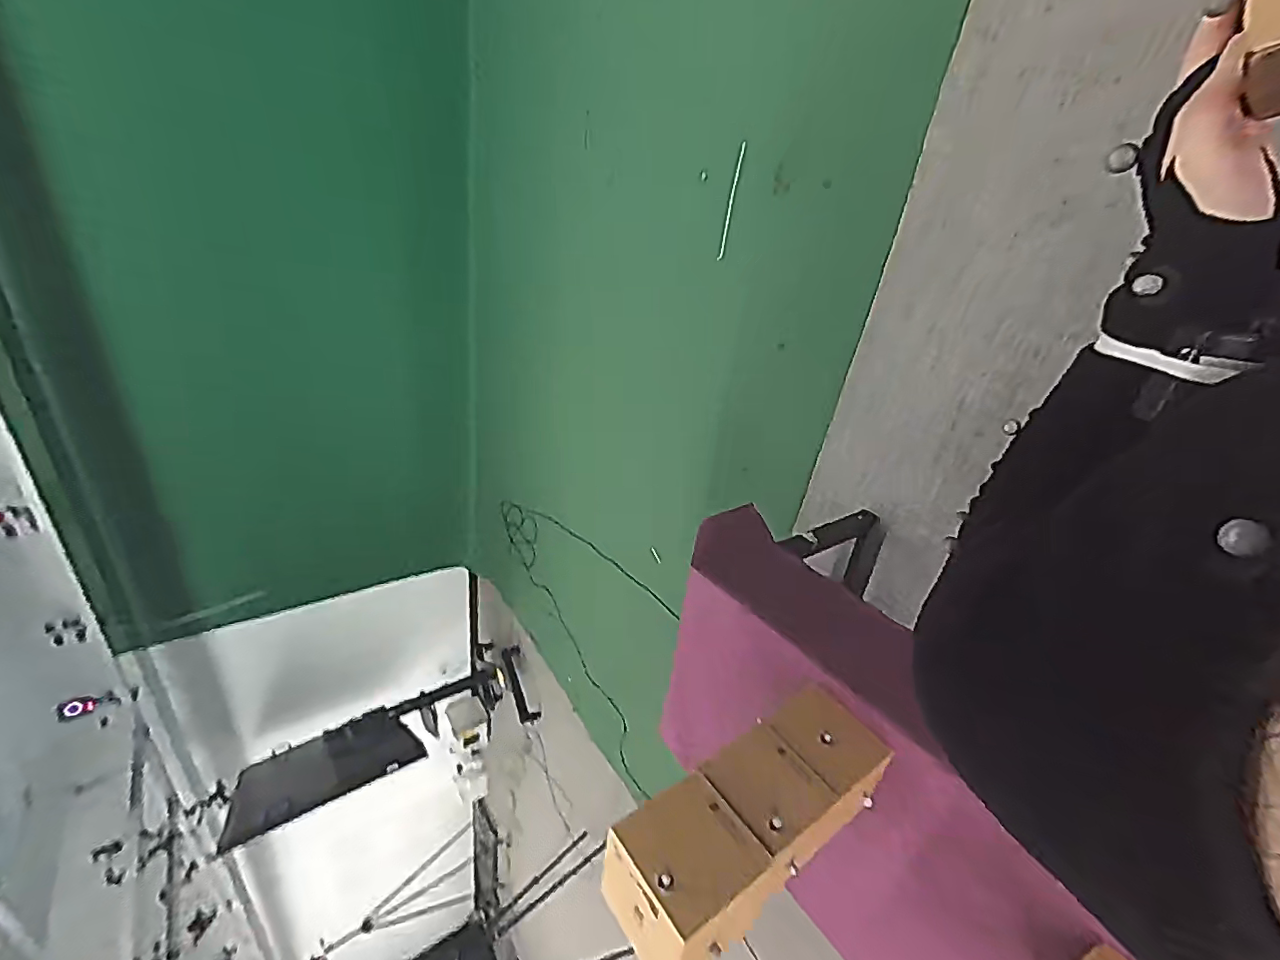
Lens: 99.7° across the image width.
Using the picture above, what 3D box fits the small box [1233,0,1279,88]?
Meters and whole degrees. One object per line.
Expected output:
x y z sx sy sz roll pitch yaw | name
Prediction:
0.325 -0.259 0.173 0.168 0.176 0.179 6 110 48 | small box

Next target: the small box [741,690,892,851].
0.319 0.513 0.990 0.179 0.176 0.168 37 130 42 | small box

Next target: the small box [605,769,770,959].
0.066 0.572 0.786 0.168 0.176 0.179 35 129 44 | small box

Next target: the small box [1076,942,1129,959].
0.600 0.738 0.662 0.179 0.176 0.168 39 130 42 | small box
